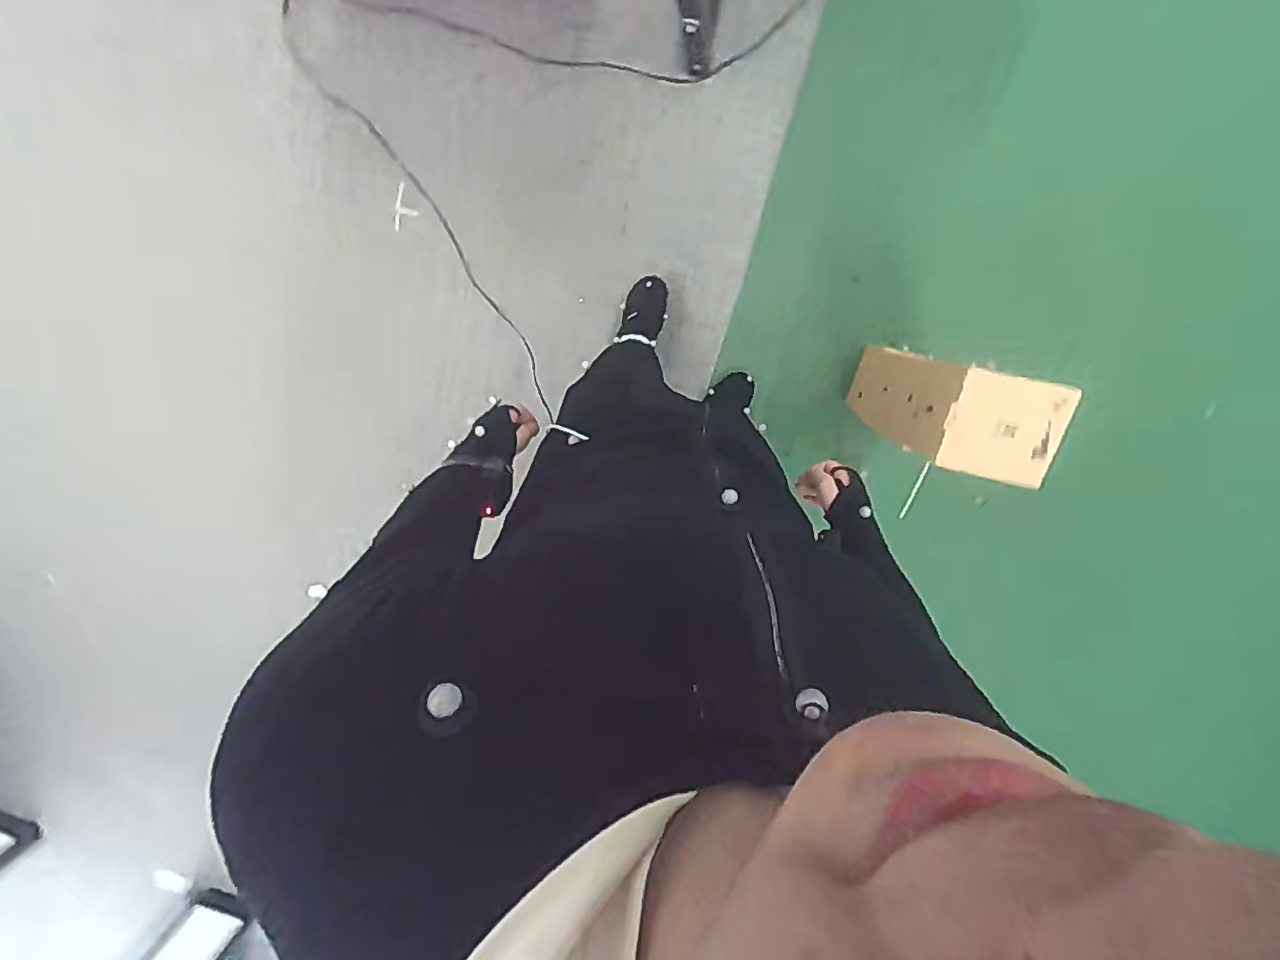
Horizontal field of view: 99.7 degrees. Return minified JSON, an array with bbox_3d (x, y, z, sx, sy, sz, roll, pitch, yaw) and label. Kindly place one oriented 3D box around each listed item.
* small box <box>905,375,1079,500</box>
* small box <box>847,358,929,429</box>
[{"bbox_3d":[0.591,-0.083,0.939,0.179,0.176,0.168,15,107,5],"label":"small box"},{"bbox_3d":[0.657,-0.211,1.407,0.168,0.176,0.179,17,107,4],"label":"small box"}]
